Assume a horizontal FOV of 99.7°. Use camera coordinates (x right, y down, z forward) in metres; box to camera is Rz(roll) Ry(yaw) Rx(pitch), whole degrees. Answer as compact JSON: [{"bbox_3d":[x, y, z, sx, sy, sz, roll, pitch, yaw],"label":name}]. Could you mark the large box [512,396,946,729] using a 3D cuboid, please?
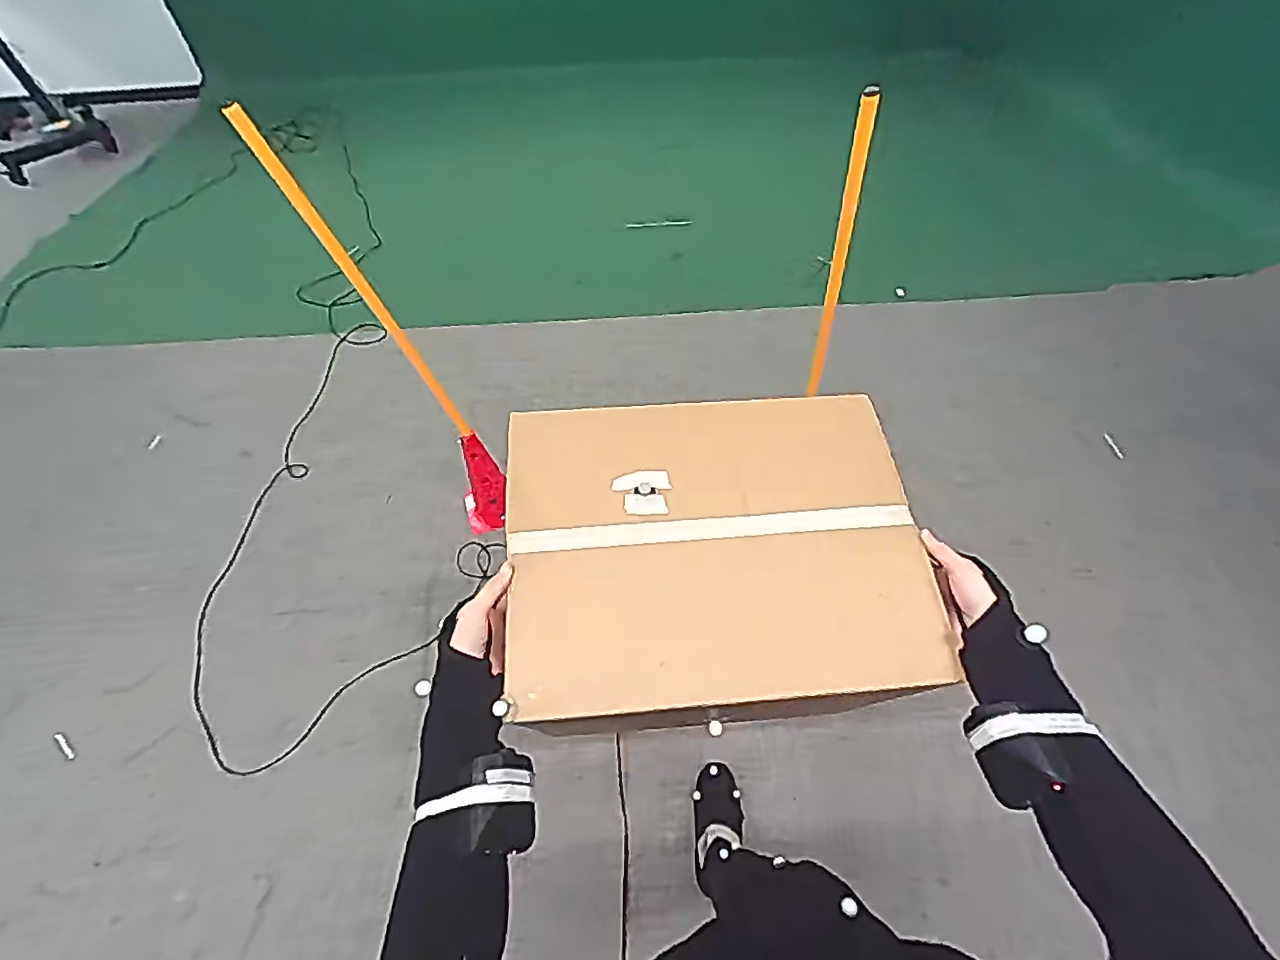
[{"bbox_3d":[0.070,0.122,0.680,0.408,0.320,0.320,-4,62,-3],"label":"large box"}]
